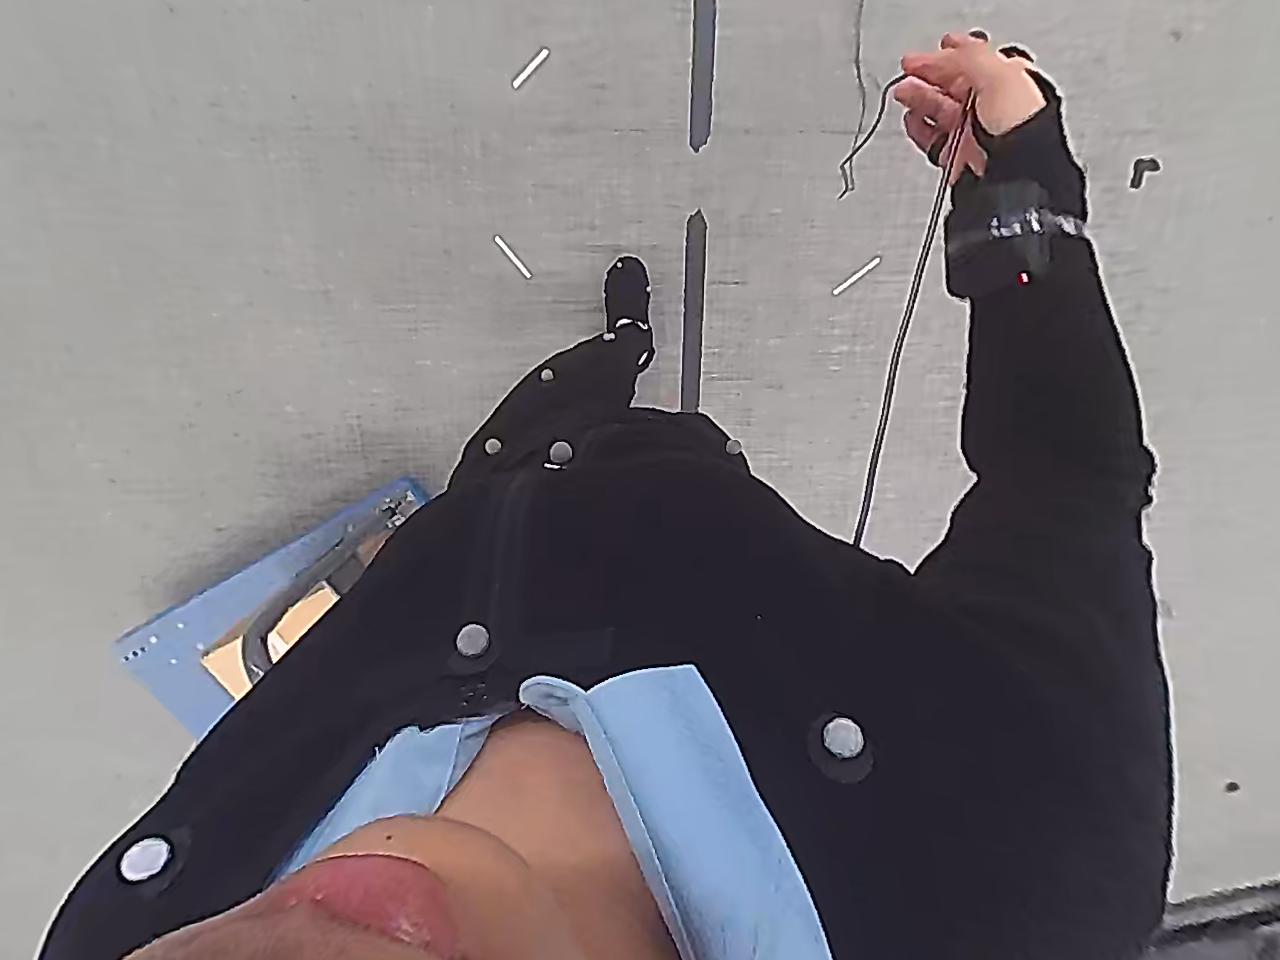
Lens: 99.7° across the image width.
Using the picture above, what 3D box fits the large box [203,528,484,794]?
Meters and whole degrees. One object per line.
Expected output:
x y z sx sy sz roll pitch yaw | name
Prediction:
-0.615 0.386 1.213 0.320 0.320 0.408 -29 105 3 | large box
